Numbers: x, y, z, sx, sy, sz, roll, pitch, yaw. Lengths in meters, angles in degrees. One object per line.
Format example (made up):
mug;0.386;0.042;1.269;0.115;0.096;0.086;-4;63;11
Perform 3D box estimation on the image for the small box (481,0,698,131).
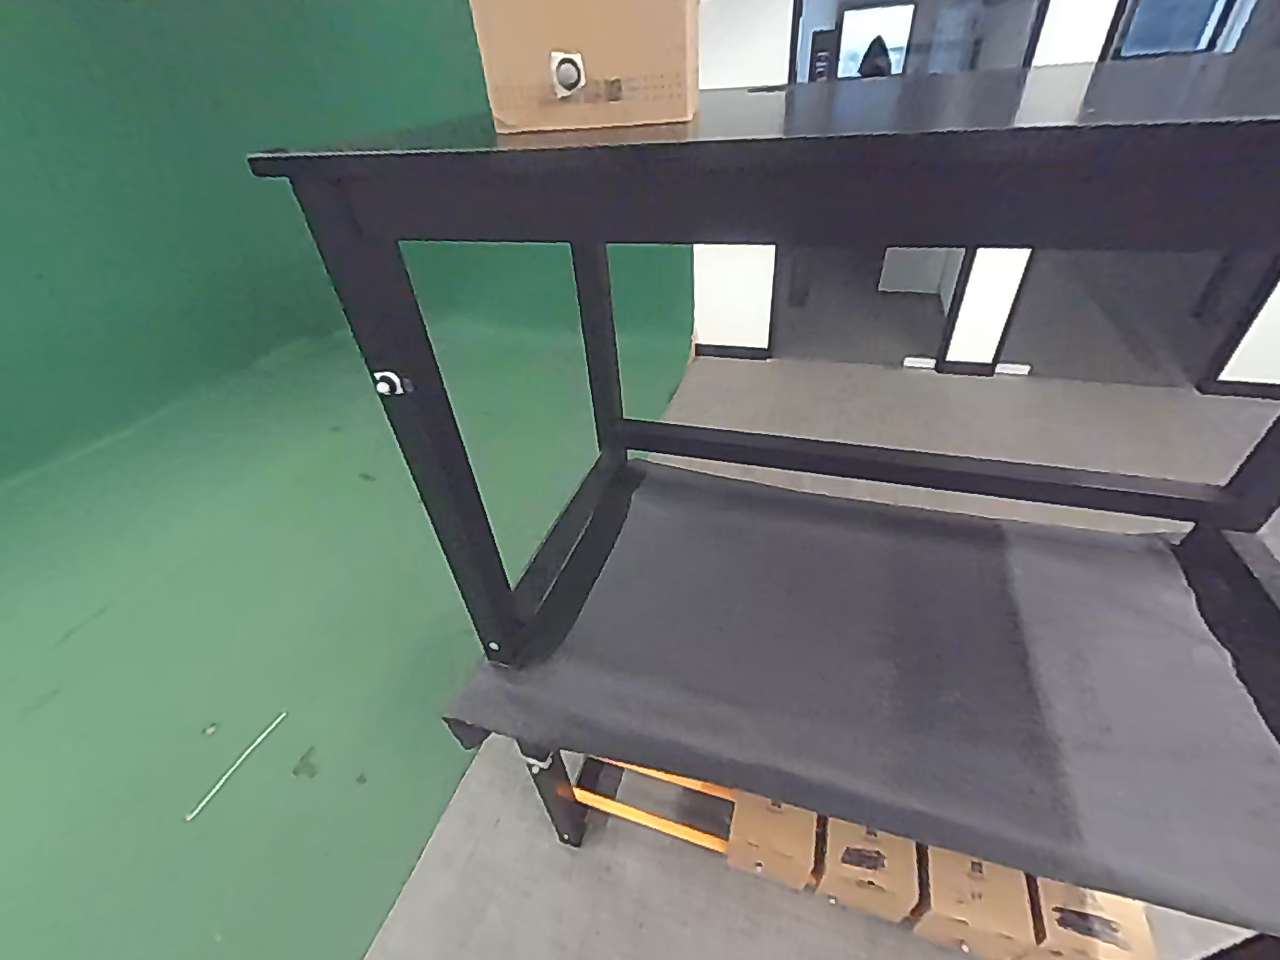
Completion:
small box;-0.036;-0.410;0.466;0.168;0.176;0.179;0;39;8
